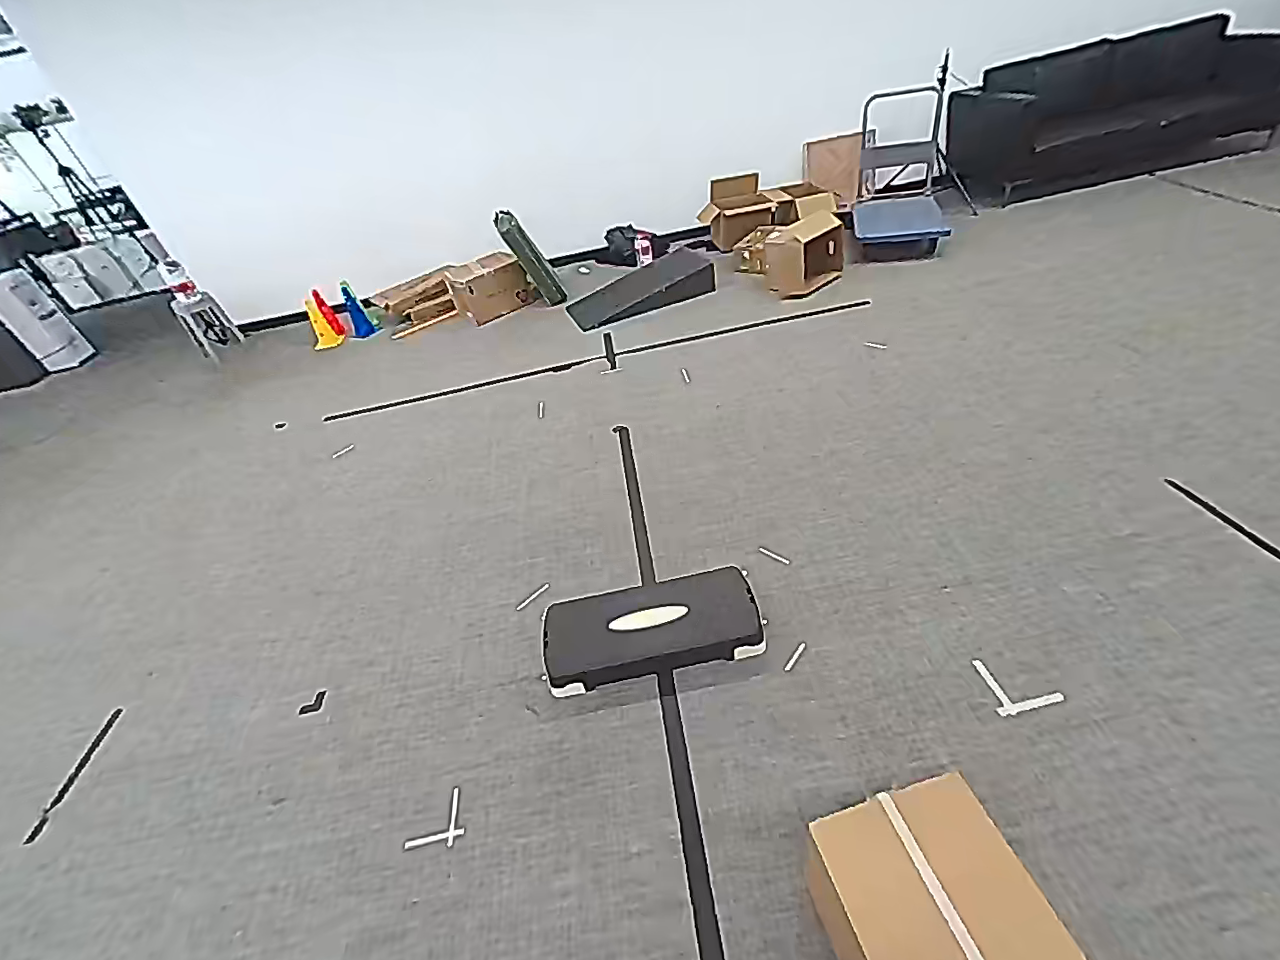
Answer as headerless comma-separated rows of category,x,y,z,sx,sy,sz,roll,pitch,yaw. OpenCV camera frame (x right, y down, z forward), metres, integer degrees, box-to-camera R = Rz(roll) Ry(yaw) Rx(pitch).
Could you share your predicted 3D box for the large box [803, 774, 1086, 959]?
large box,0.531,0.832,0.968,0.320,0.320,0.408,-16,40,-5
